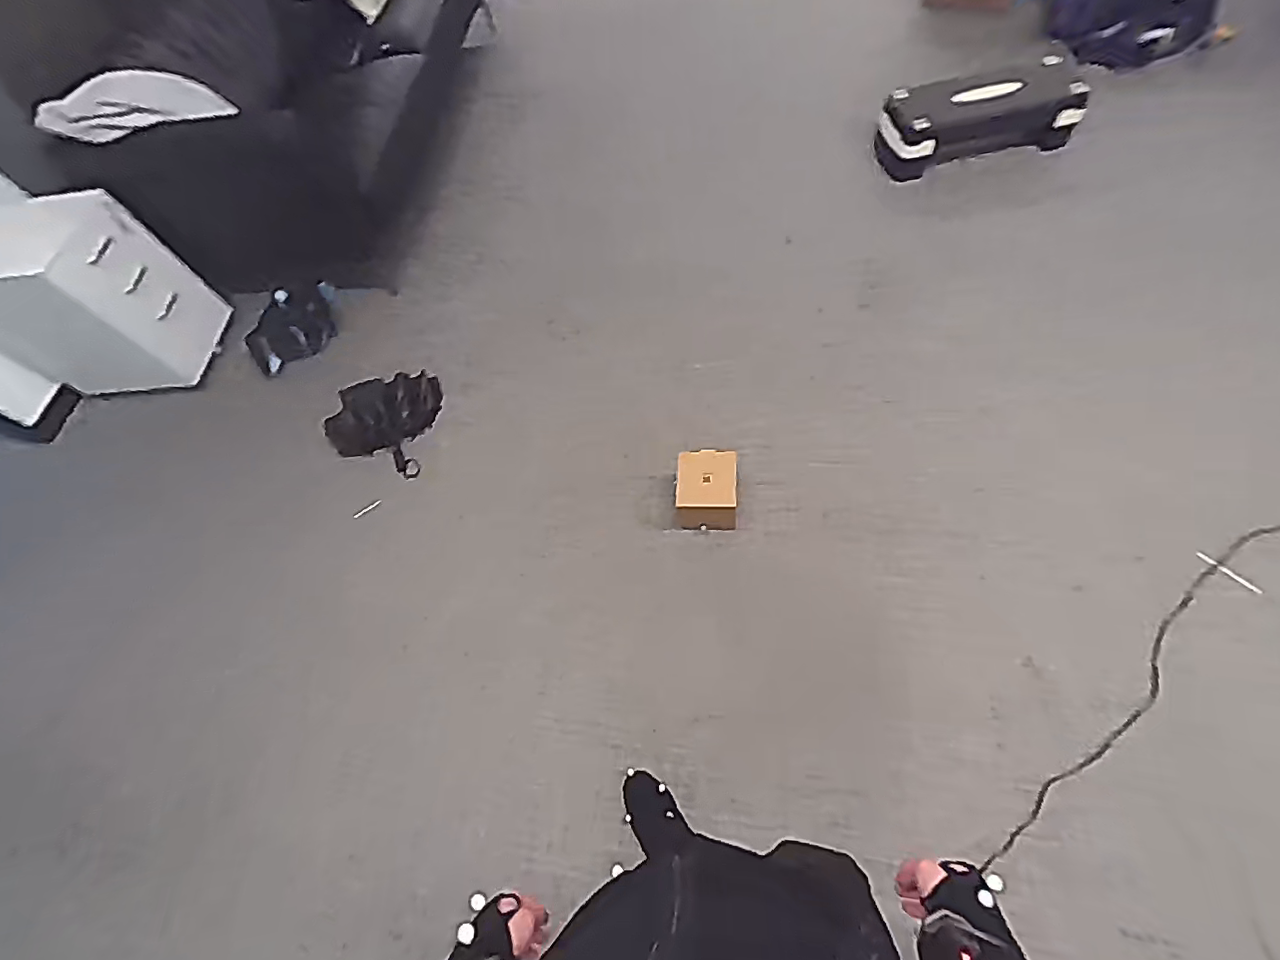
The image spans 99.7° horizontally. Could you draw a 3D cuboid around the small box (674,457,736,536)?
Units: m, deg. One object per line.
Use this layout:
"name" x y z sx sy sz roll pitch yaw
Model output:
"small box" 0.192 0.049 1.565 0.168 0.176 0.179 -1 63 10
